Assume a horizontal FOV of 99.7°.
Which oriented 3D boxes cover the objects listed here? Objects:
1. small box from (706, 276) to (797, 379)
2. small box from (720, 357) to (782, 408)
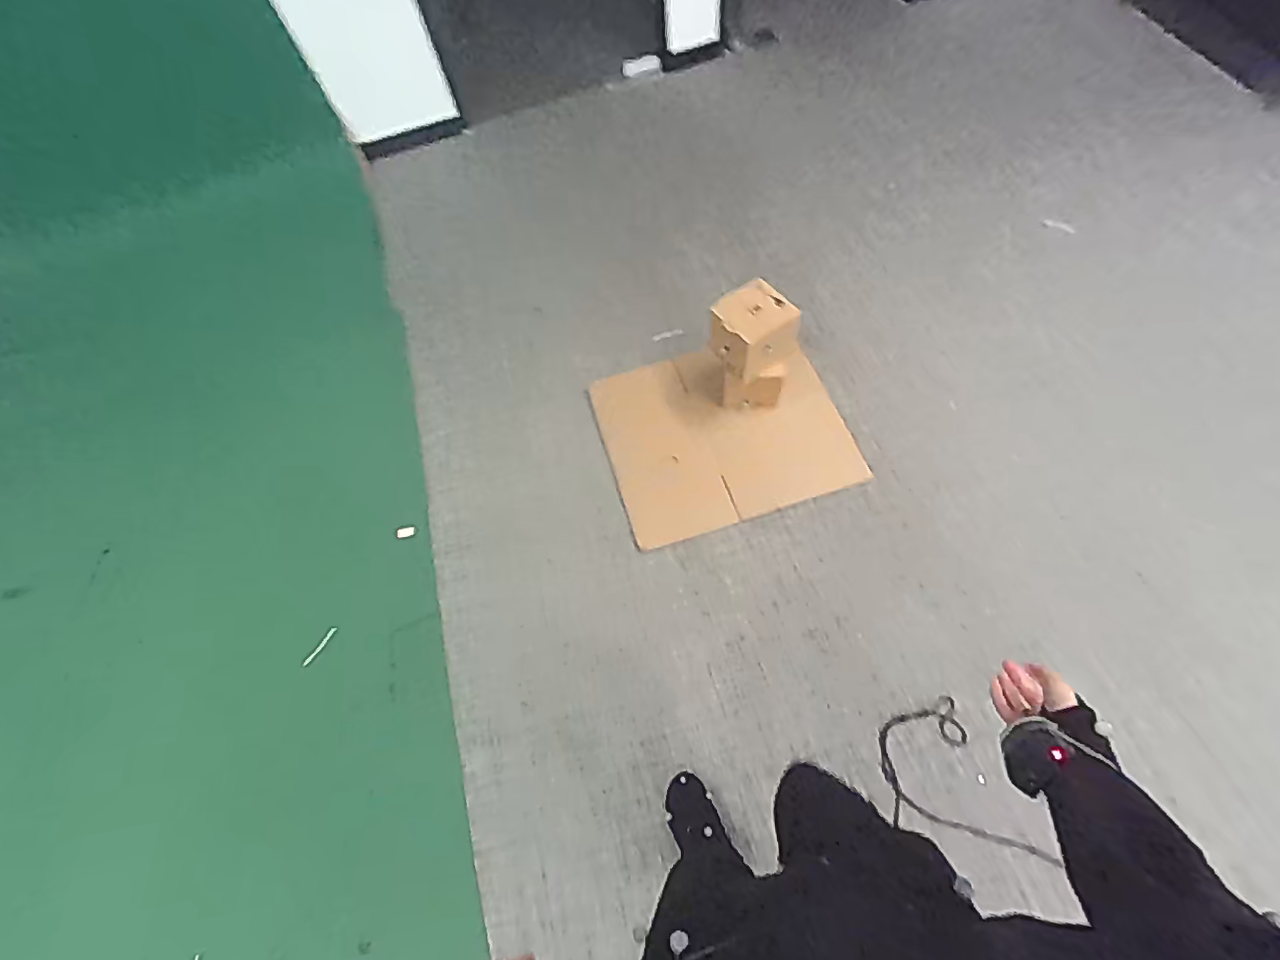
[{"bbox_3d":[0.301,-0.410,1.479,0.179,0.176,0.168,-34,65,-9],"label":"small box"},{"bbox_3d":[0.327,-0.336,1.622,0.168,0.176,0.179,0,64,6],"label":"small box"}]
